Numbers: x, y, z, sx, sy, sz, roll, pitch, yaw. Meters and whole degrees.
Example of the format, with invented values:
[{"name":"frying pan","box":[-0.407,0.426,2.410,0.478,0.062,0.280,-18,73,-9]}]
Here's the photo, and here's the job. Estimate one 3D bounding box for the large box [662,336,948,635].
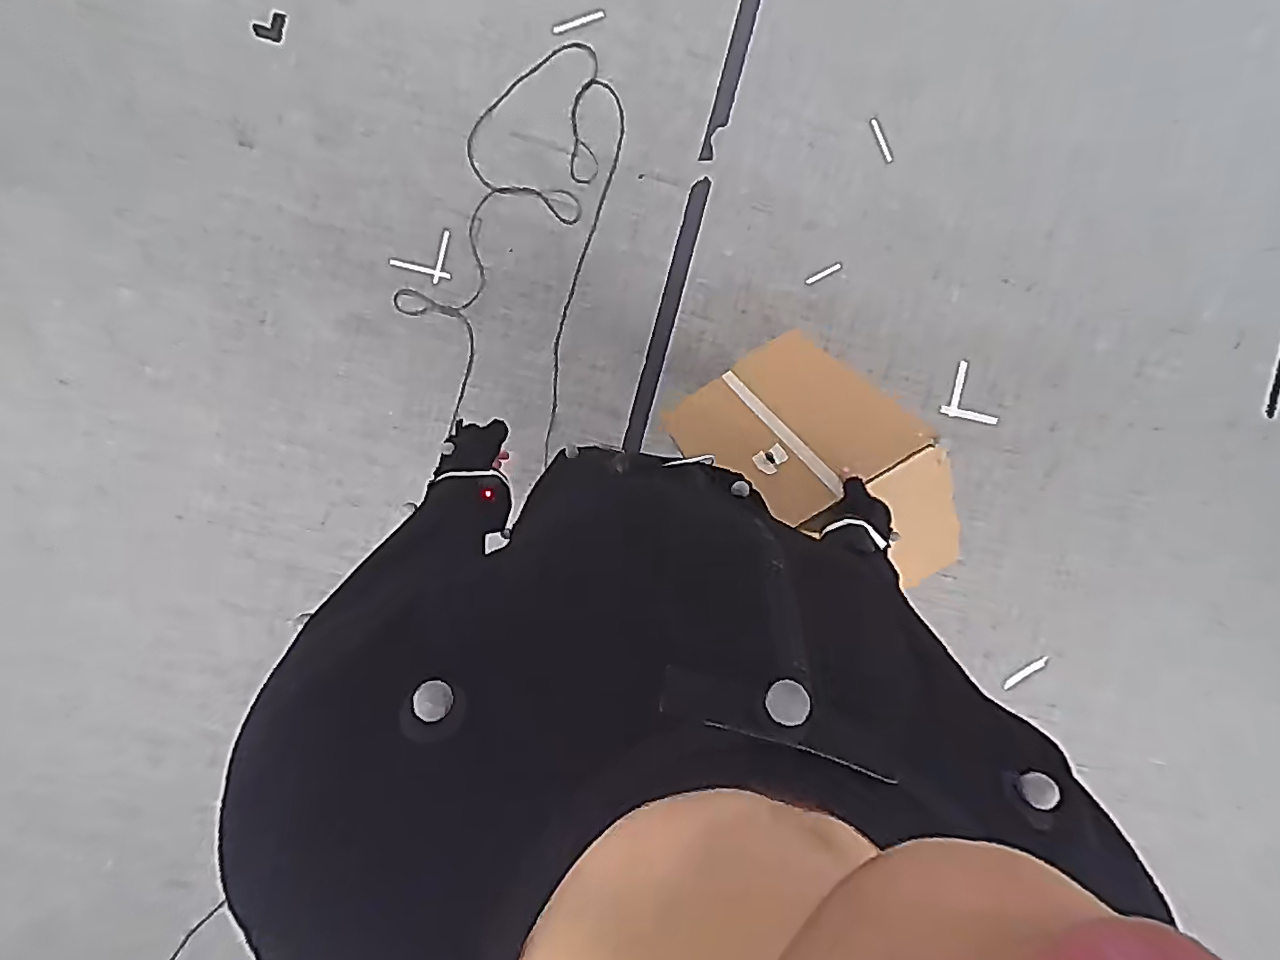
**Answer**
[{"name":"large box","box":[0.296,0.001,1.016,0.320,0.408,0.320,-33,131,5]}]
